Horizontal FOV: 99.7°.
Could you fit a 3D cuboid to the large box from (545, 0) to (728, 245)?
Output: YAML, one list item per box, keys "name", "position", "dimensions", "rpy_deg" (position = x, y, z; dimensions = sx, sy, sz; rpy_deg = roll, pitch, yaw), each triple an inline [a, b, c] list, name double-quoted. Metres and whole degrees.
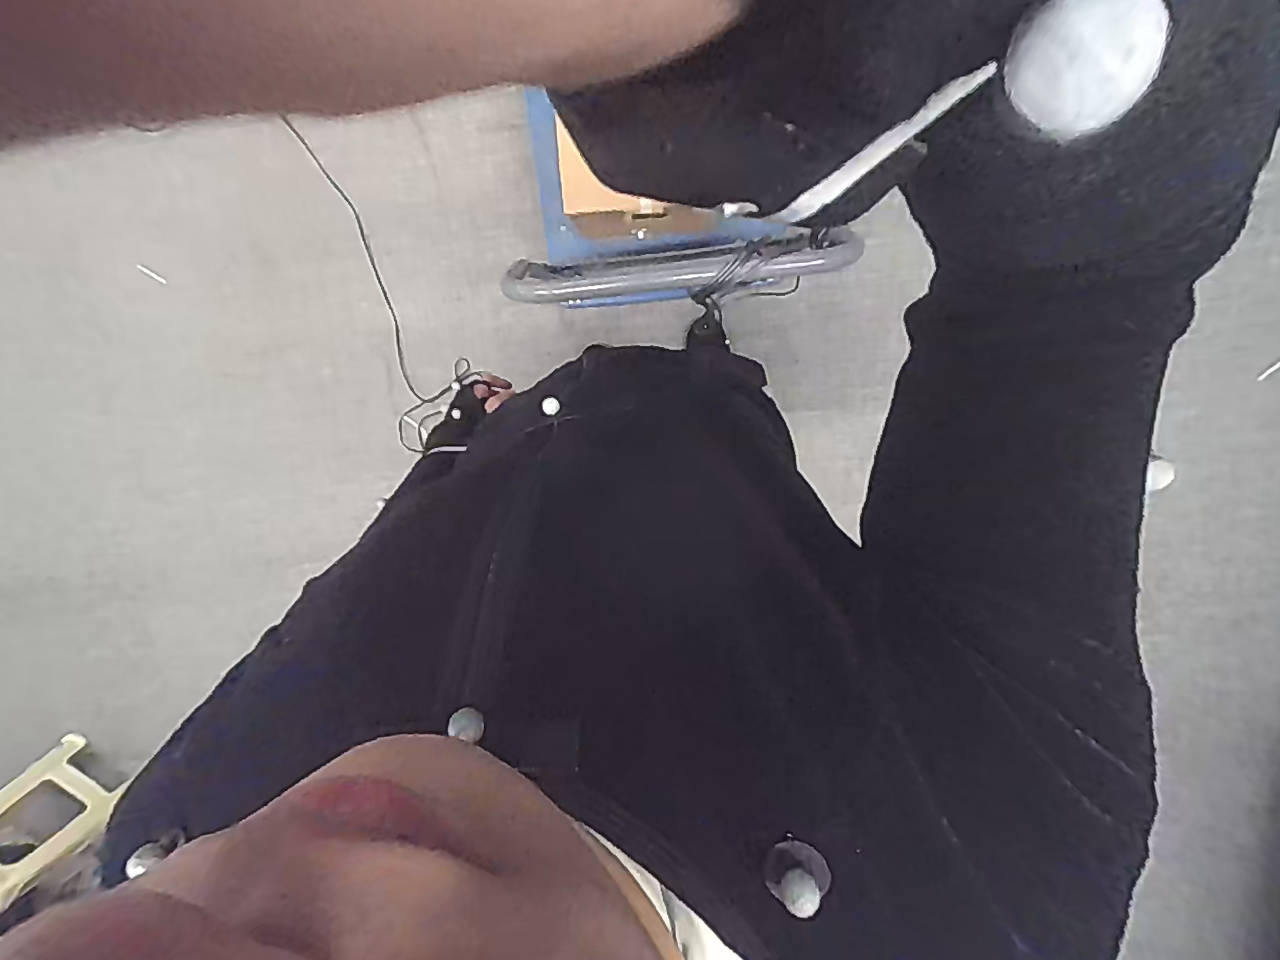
- name: "large box"
  position: [0.006, -0.737, 1.121]
  dimensions: [0.320, 0.320, 0.408]
  rpy_deg: [-3, 105, 4]
